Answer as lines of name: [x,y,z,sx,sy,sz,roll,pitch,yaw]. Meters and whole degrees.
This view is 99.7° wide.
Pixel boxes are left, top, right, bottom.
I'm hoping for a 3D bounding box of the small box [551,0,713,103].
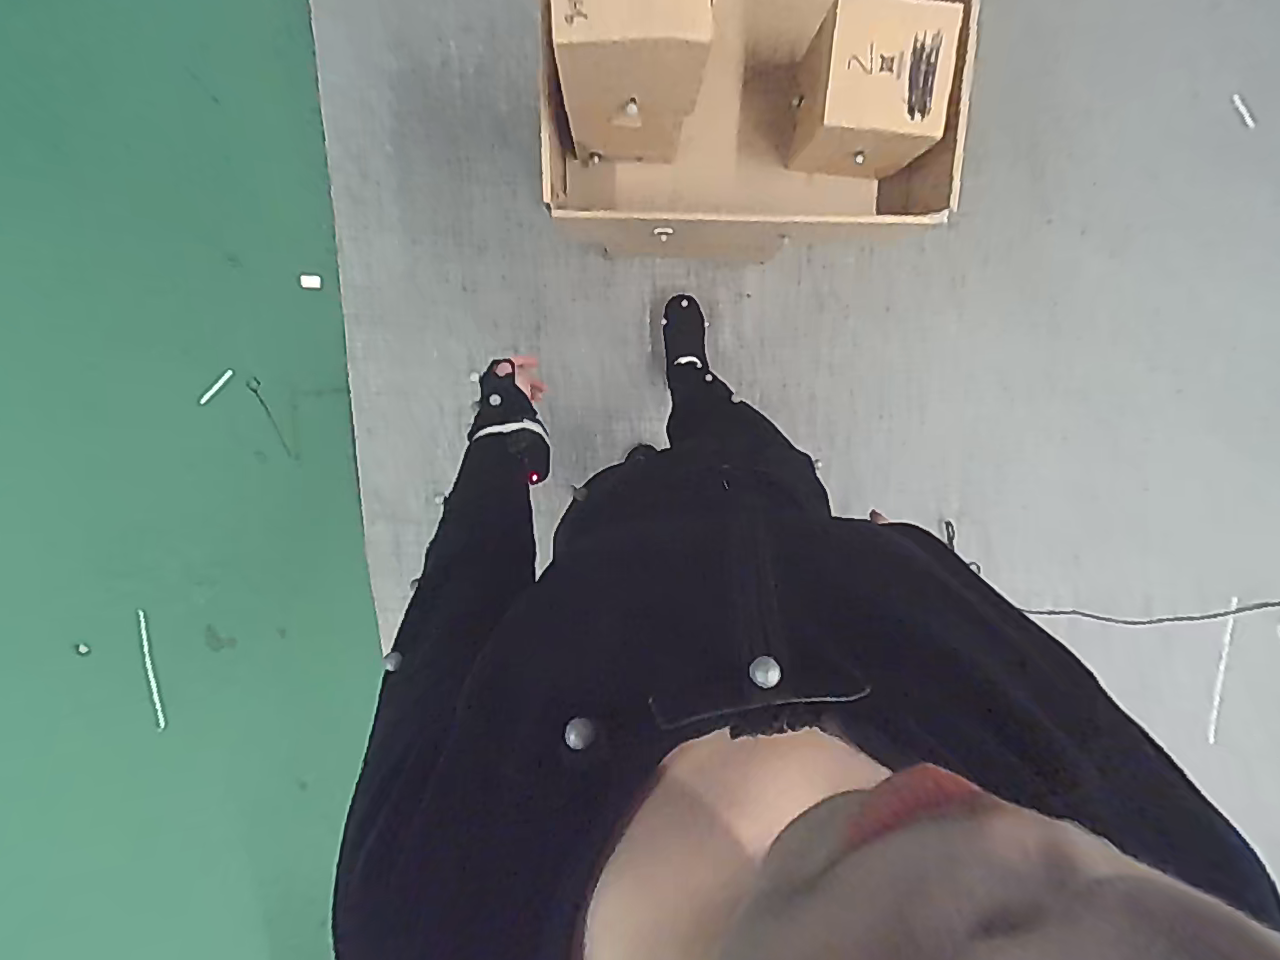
small box: [-0.013,-0.581,0.645,0.179,0.176,0.168,-2,100,-2]
